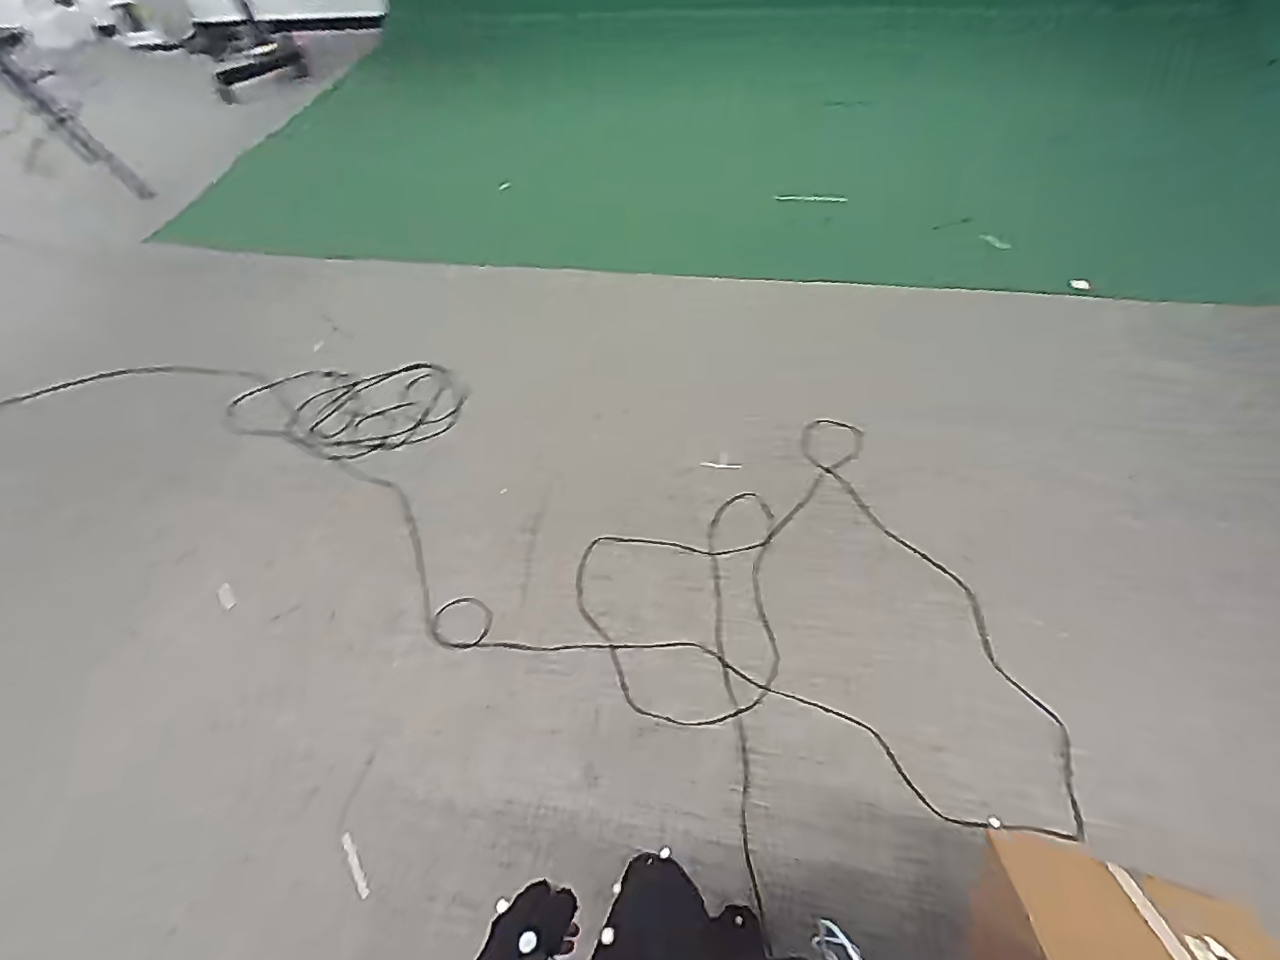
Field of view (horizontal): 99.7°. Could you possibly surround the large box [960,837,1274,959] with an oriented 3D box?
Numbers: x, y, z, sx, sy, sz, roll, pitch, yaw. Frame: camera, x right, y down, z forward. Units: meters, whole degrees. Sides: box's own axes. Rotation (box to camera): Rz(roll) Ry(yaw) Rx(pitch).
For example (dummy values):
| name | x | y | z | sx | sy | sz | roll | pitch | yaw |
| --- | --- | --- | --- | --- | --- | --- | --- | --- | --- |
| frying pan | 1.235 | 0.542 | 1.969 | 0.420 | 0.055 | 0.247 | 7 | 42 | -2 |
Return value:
| name | x | y | z | sx | sy | sz | roll | pitch | yaw |
| --- | --- | --- | --- | --- | --- | --- | --- | --- | --- |
| large box | 0.584 | 0.719 | 0.602 | 0.320 | 0.408 | 0.320 | 11 | 94 | 18 |
